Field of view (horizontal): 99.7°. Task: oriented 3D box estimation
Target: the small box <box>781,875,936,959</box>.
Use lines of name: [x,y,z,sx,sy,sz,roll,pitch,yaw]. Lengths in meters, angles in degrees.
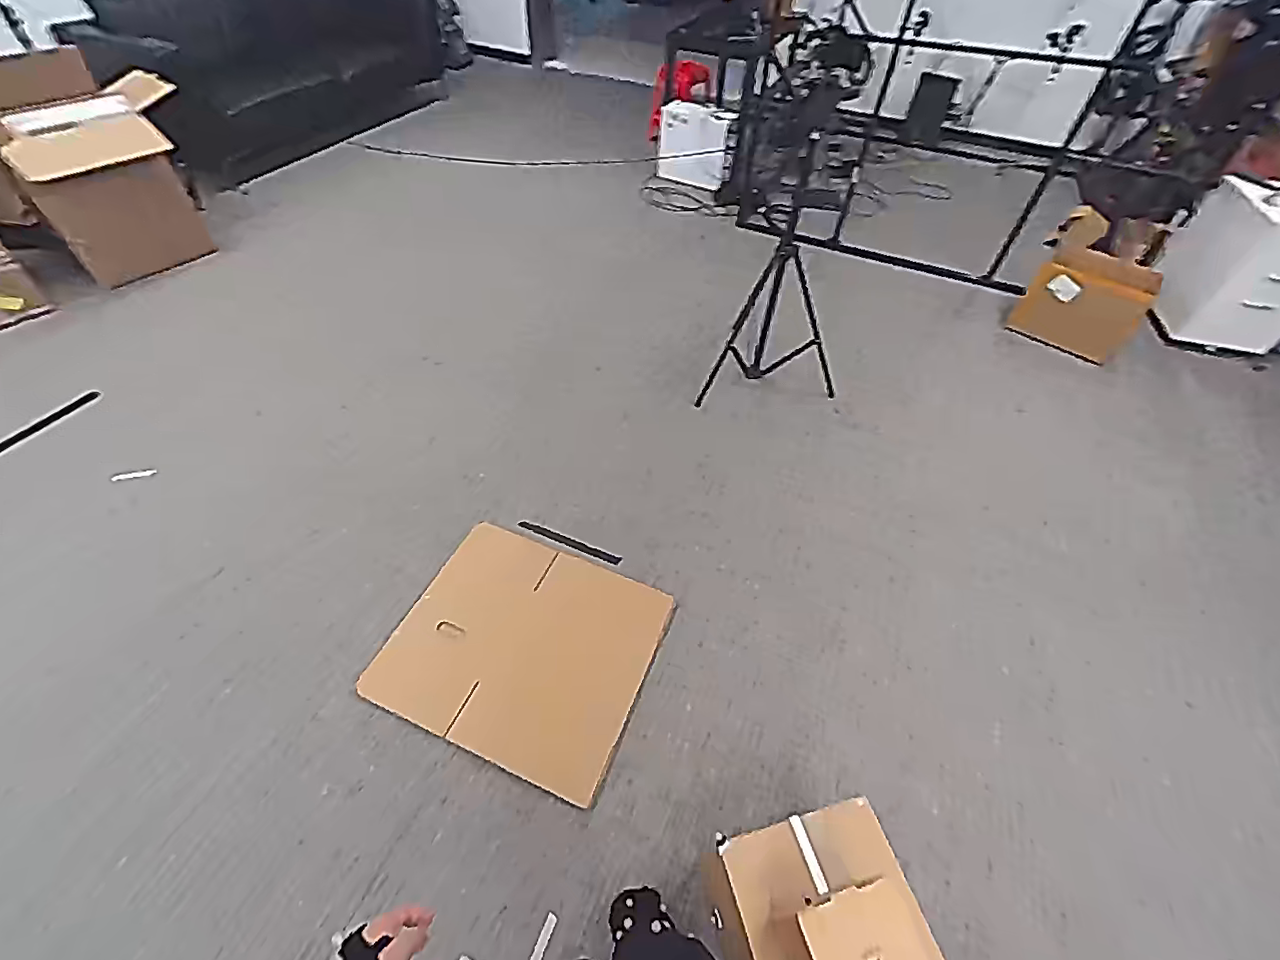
small box: [0.336,0.737,0.823,0.168,0.176,0.179,-13,53,-12]
